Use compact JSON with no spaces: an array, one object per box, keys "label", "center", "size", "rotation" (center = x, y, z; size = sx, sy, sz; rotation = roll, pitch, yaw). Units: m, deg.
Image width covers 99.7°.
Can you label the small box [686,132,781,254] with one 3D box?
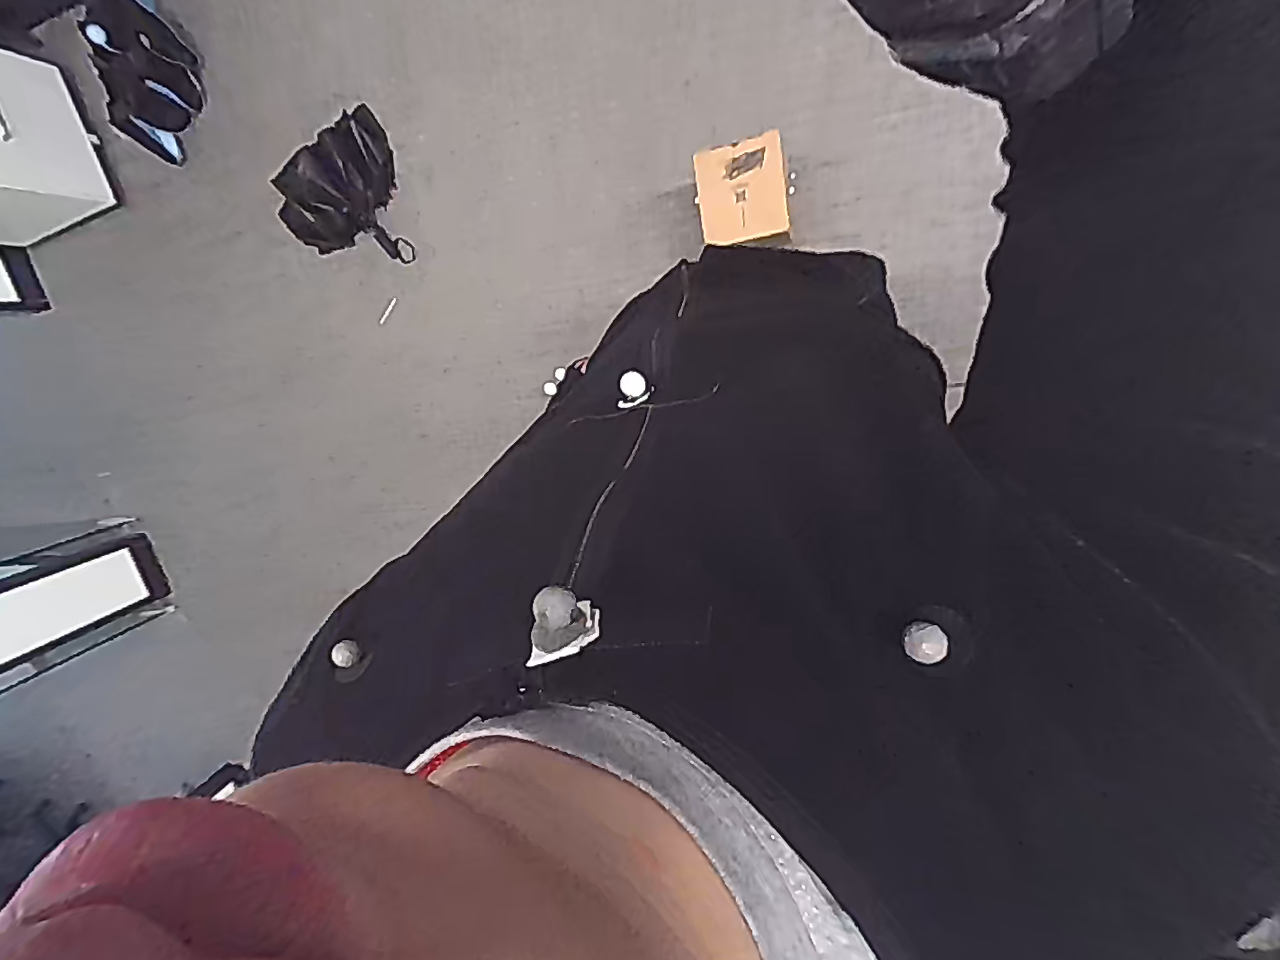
[{"label":"small box","center":[0.198,-0.579,1.114],"size":[0.168,0.176,0.179],"rotation":[-5,107,18]}]

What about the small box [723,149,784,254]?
[{"label":"small box","center":[0.244,-0.638,1.261],"size":[0.168,0.176,0.179],"rotation":[-4,108,18]}]
